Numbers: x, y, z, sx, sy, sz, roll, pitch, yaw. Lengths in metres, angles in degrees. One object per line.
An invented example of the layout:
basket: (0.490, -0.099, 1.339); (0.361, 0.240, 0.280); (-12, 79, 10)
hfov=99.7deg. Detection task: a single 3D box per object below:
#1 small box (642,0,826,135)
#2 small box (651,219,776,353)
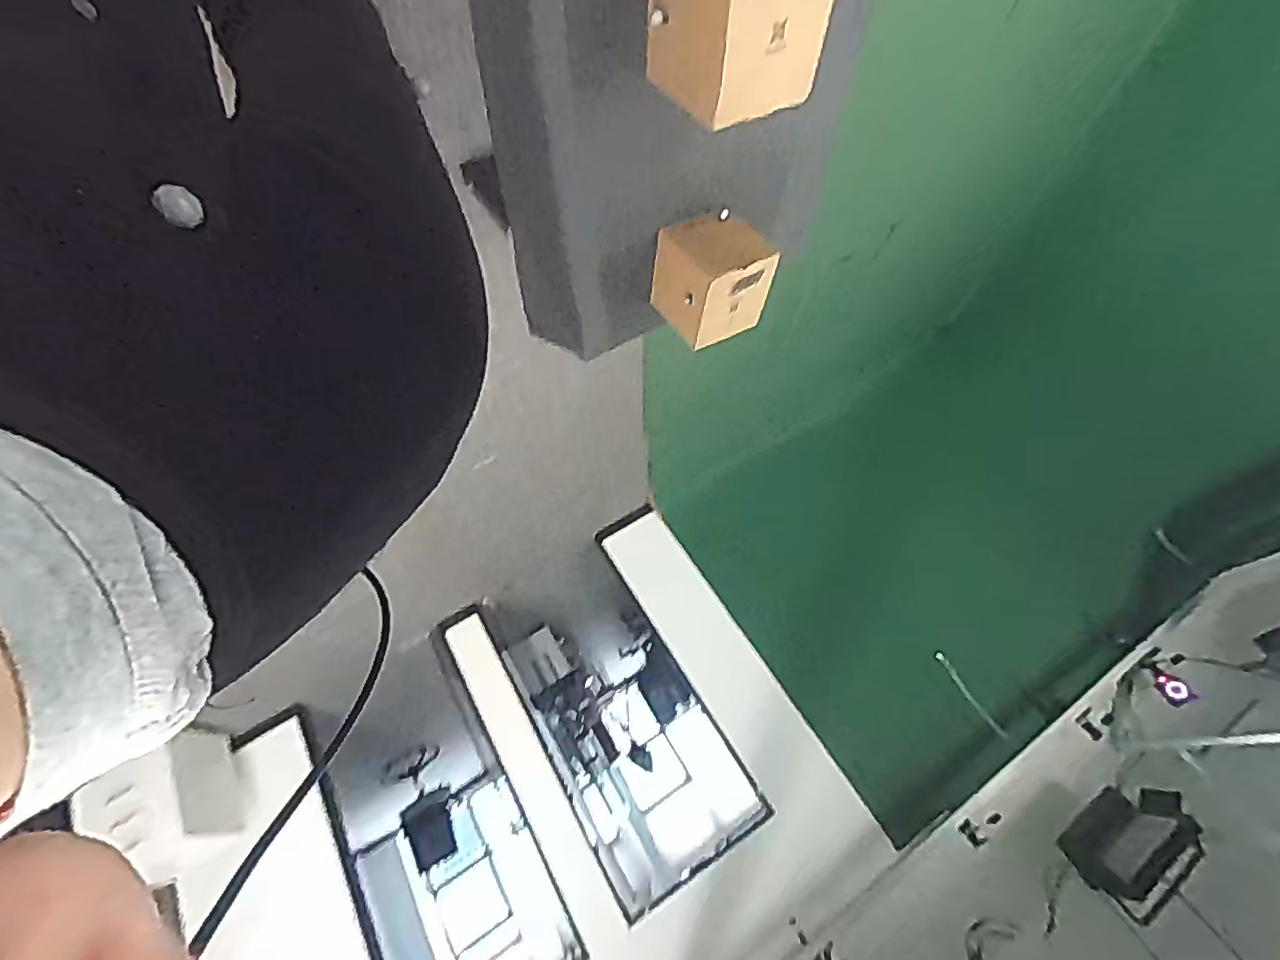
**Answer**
small box: (0.114, -0.597, 0.700); (0.168, 0.176, 0.179); (-29, 155, -17)
small box: (0.137, -0.395, 1.081); (0.168, 0.176, 0.179); (-27, 154, -20)
